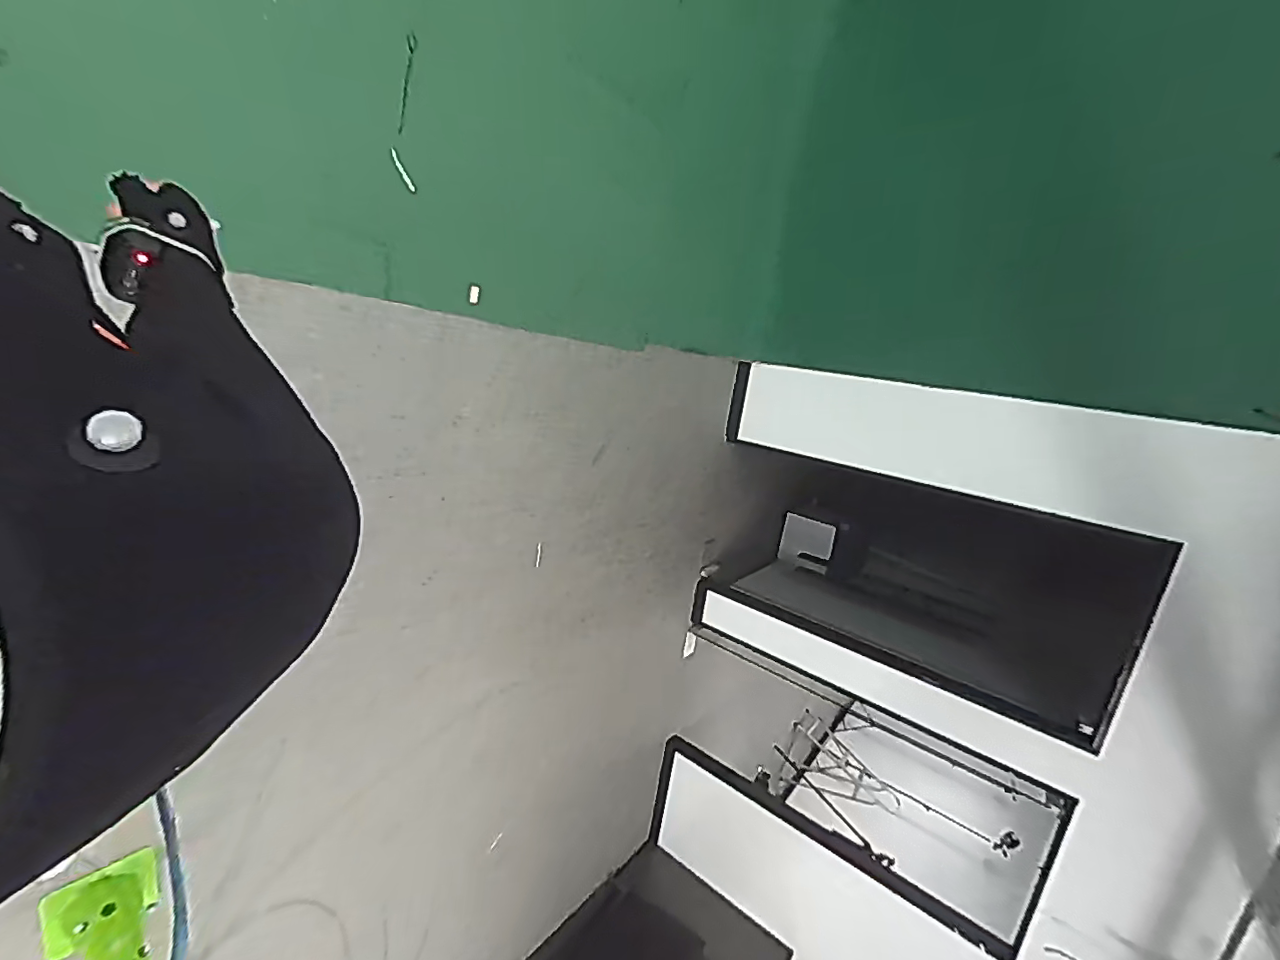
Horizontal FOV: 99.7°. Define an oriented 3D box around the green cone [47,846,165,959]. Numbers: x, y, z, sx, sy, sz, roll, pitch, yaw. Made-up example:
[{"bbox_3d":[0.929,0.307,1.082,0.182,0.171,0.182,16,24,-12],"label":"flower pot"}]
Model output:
[{"bbox_3d":[-1.164,1.066,1.221,0.202,0.368,0.200,-9,111,-51],"label":"green cone"}]
